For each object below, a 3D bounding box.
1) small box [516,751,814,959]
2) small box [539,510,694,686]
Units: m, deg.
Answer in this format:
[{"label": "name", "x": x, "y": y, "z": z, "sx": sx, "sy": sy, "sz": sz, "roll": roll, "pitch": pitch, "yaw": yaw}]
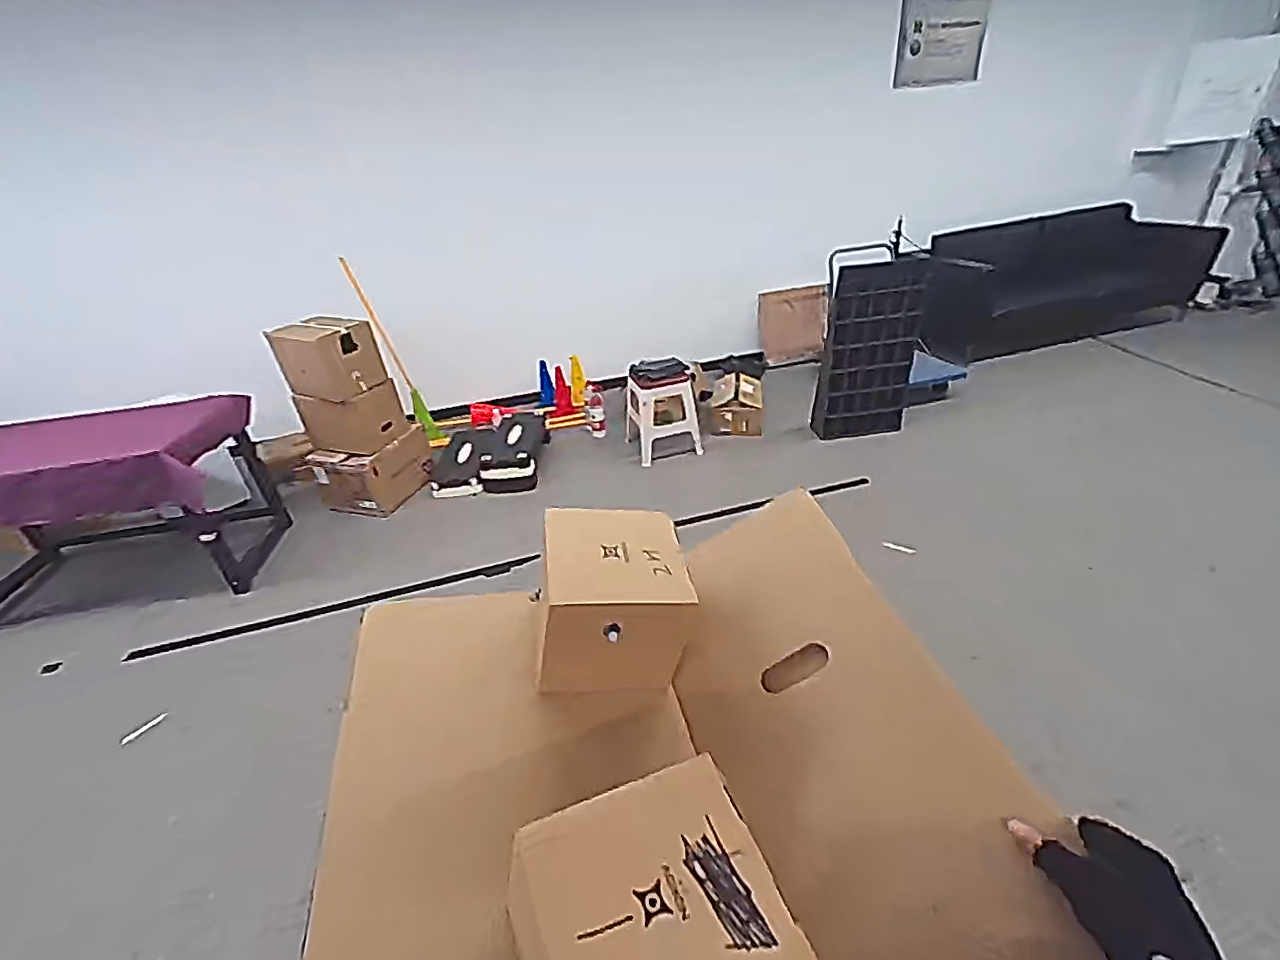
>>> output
[{"label": "small box", "x": 0.003, "y": 0.368, "z": 0.451, "sx": 0.179, "sy": 0.176, "sz": 0.168, "roll": -8, "pitch": 40, "yaw": -25}, {"label": "small box", "x": -0.044, "y": 0.159, "z": 0.726, "sx": 0.179, "sy": 0.176, "sz": 0.168, "roll": 3, "pitch": 37, "yaw": -14}]
